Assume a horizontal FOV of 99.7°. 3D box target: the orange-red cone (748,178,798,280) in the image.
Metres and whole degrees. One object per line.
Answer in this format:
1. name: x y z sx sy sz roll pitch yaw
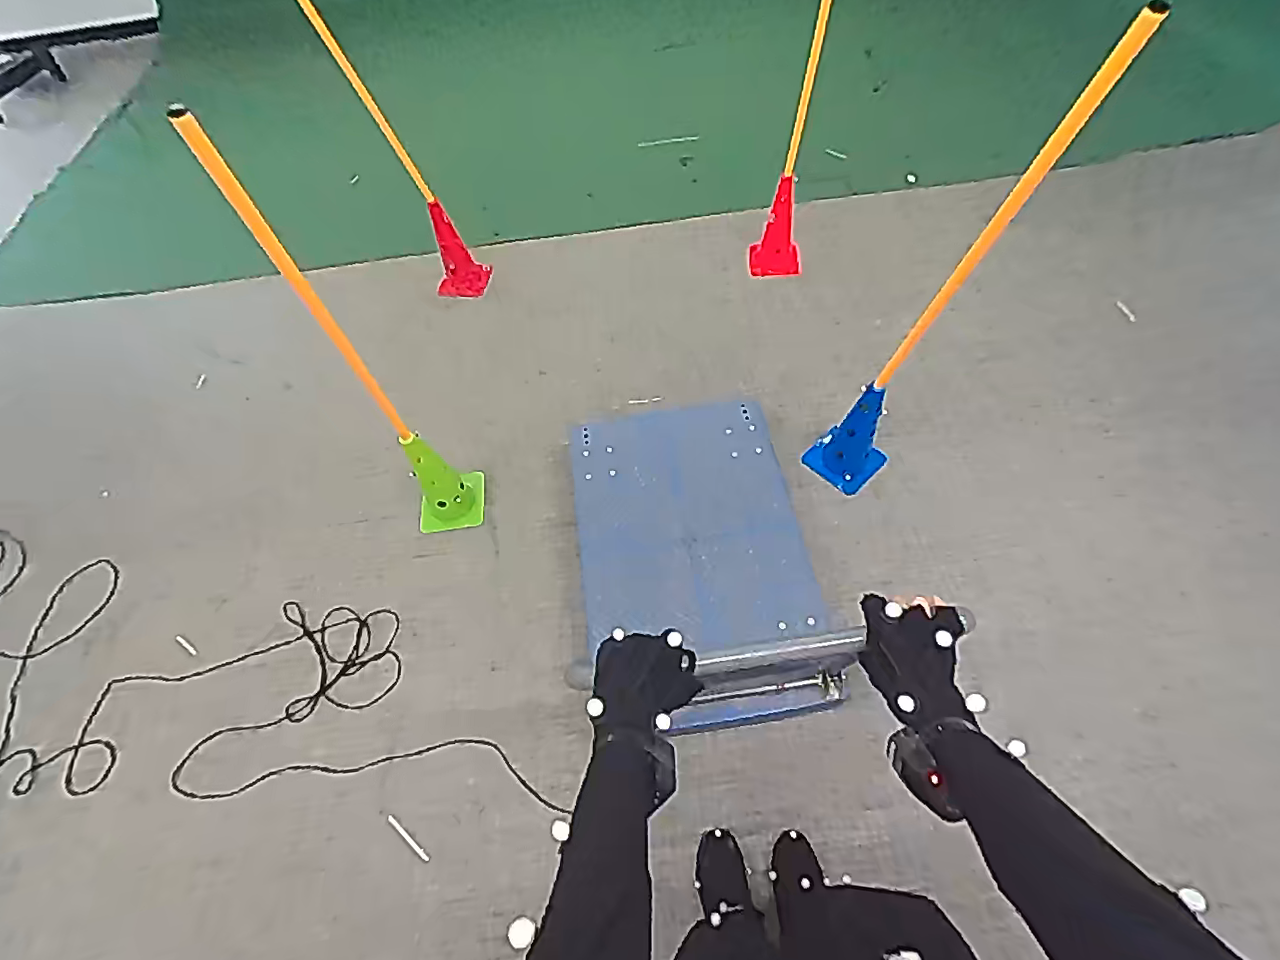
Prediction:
1. orange-red cone: 0.533 -0.976 2.078 0.198 0.360 0.199 2 60 6
